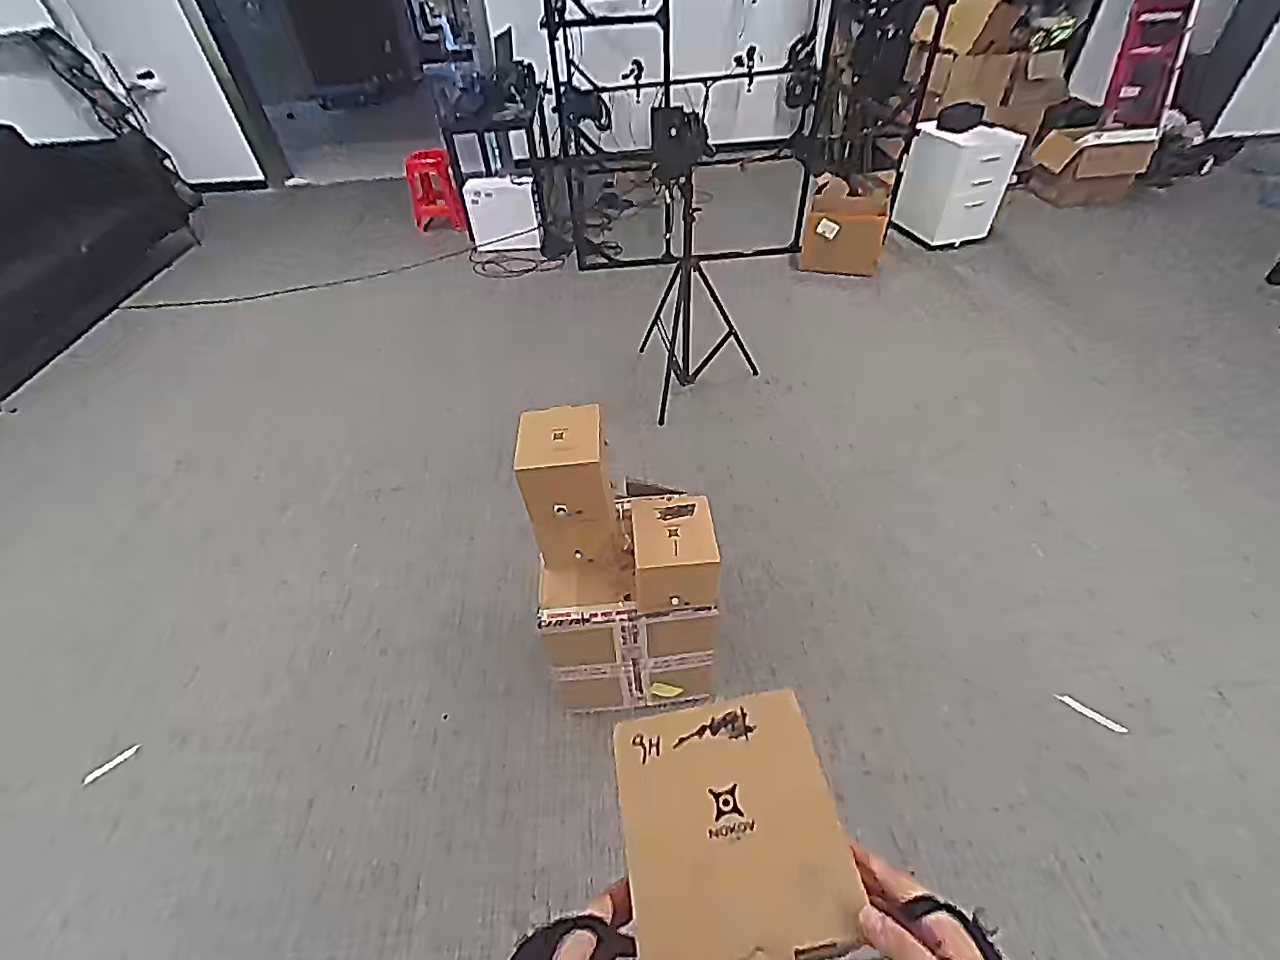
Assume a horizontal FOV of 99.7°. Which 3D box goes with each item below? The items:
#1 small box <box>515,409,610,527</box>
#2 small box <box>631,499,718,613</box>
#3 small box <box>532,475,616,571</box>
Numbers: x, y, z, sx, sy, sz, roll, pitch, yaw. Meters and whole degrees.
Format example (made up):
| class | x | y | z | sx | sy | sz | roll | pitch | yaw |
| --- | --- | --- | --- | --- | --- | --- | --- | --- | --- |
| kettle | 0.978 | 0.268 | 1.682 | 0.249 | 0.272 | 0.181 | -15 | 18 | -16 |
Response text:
| class | x | y | z | sx | sy | sz | roll | pitch | yaw |
| --- | --- | --- | --- | --- | --- | --- | --- | --- | --- |
| small box | -0.154 | -0.025 | 1.128 | 0.168 | 0.176 | 0.179 | -6 | 47 | 1 |
| small box | 0.068 | 0.164 | 1.159 | 0.168 | 0.176 | 0.179 | -4 | 47 | -2 |
| small box | -0.146 | 0.087 | 1.246 | 0.168 | 0.176 | 0.179 | -6 | 46 | 0 |
